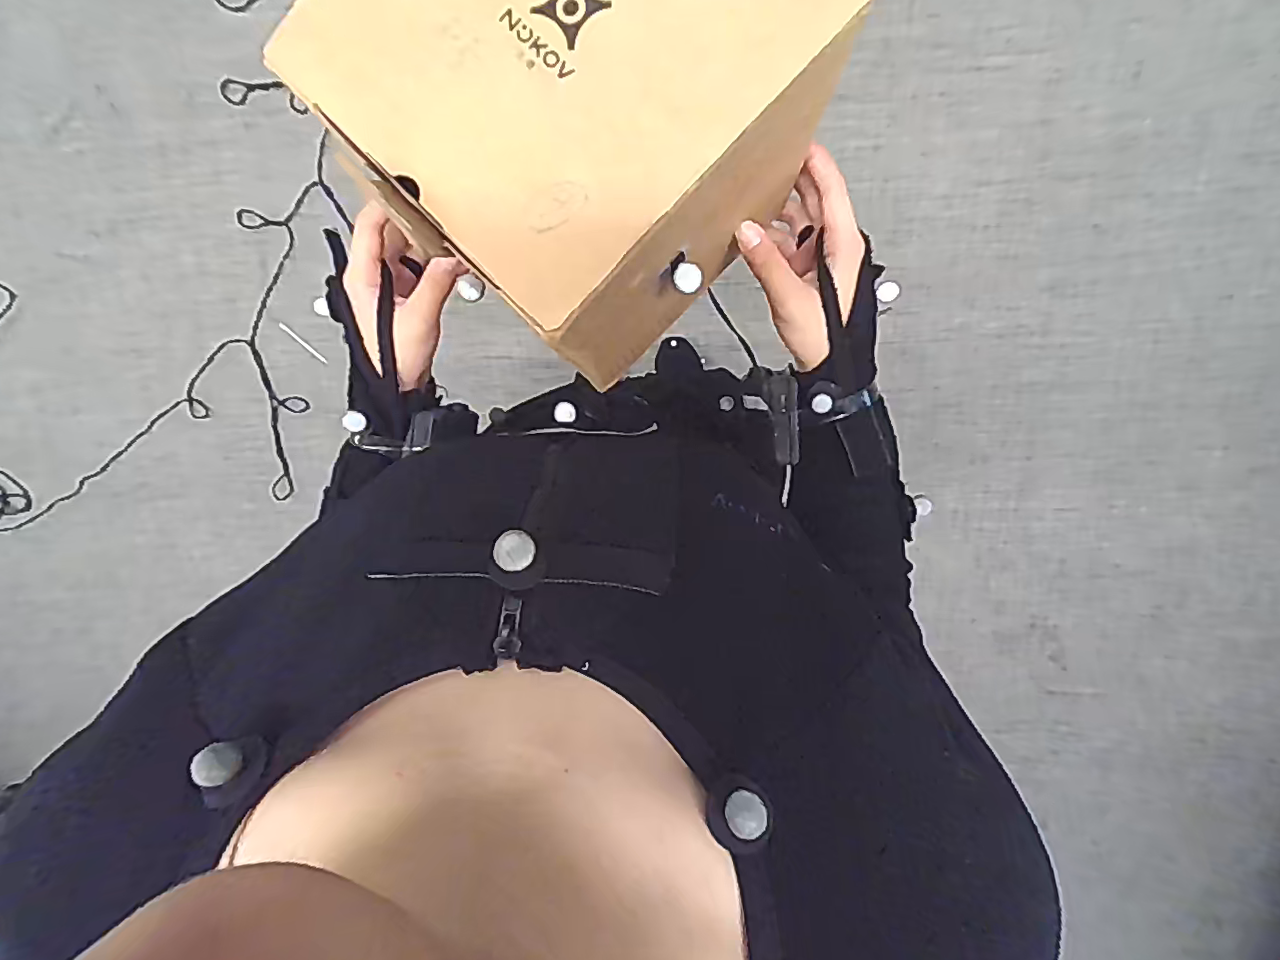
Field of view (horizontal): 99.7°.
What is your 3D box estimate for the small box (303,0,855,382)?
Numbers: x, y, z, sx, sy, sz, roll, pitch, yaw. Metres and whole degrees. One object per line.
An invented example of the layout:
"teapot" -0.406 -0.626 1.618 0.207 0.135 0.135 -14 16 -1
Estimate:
"small box" -0.023 -0.175 0.301 0.168 0.176 0.179 44 95 1
